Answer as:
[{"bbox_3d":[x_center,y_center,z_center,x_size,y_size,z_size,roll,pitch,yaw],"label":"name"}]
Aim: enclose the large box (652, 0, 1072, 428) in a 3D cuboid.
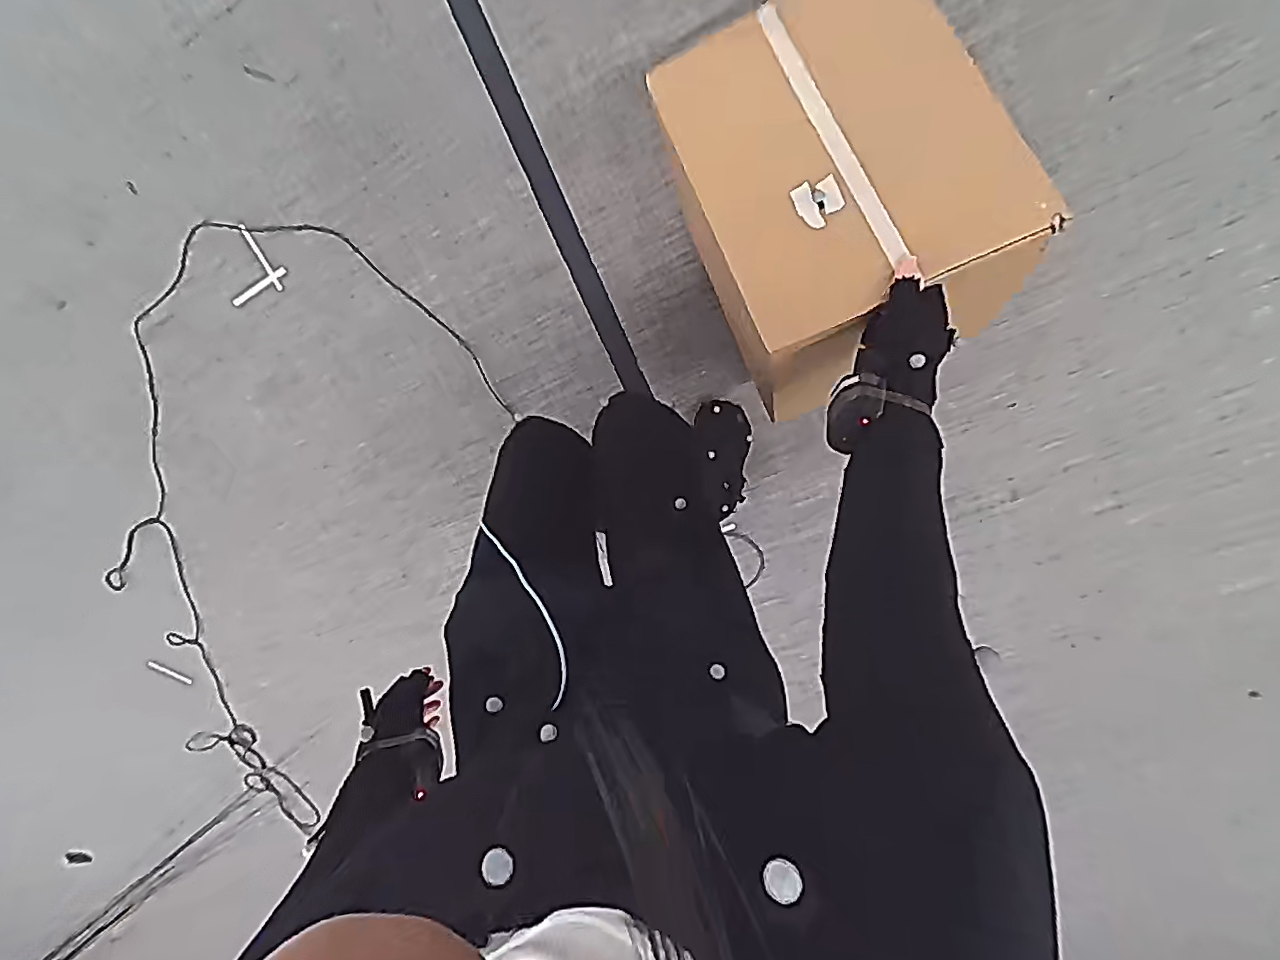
[{"bbox_3d":[0.256,-0.341,0.748,0.320,0.320,0.408,-24,74,11],"label":"large box"}]
